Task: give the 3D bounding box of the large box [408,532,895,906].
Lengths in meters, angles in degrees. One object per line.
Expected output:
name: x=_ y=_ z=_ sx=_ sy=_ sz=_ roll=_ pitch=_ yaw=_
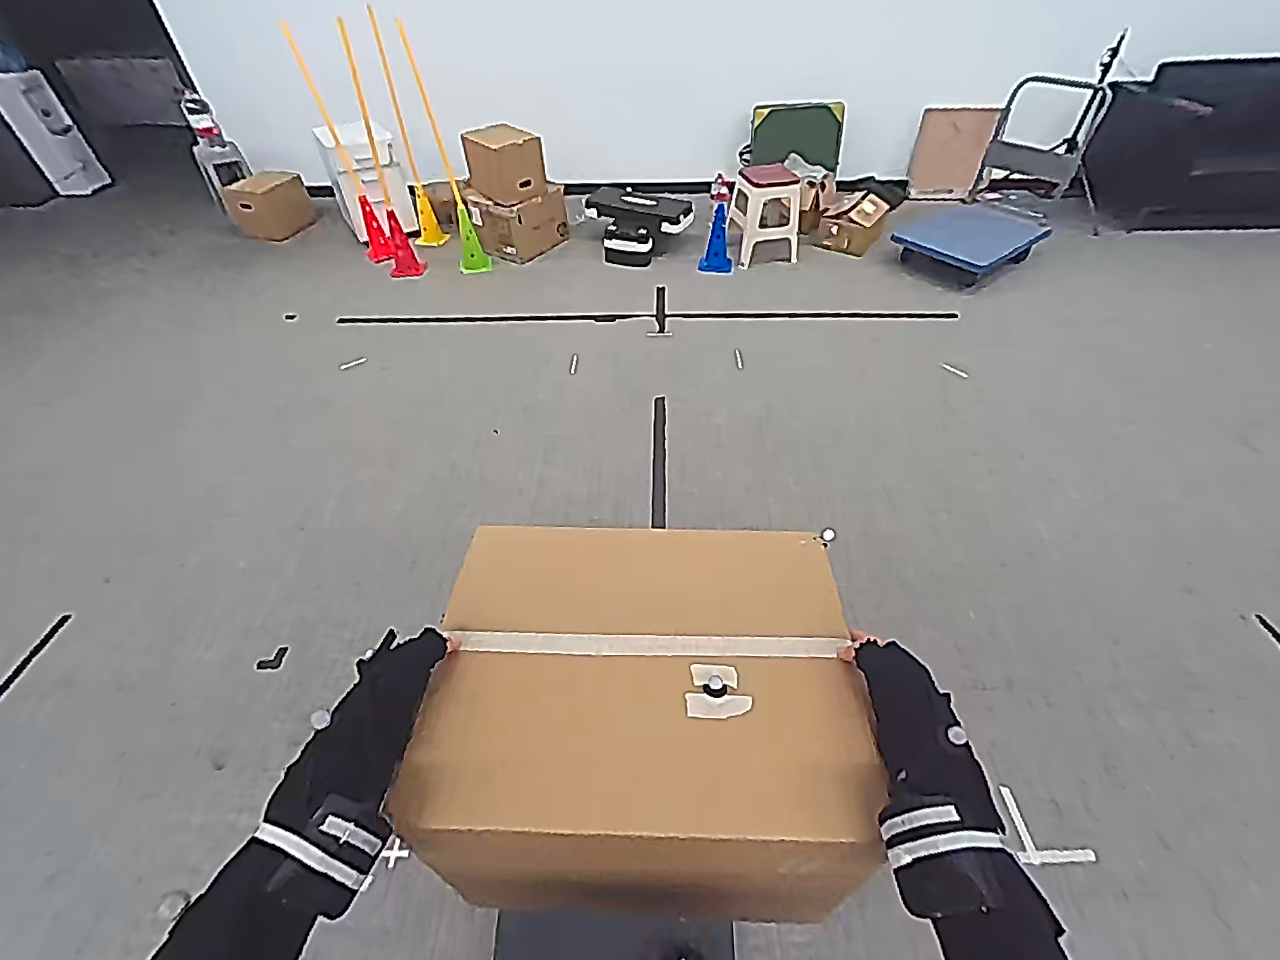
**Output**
large box: x=0.011 y=0.278 z=0.641 sx=0.408 sy=0.320 sz=0.320 roll=1 pitch=42 yaw=2
